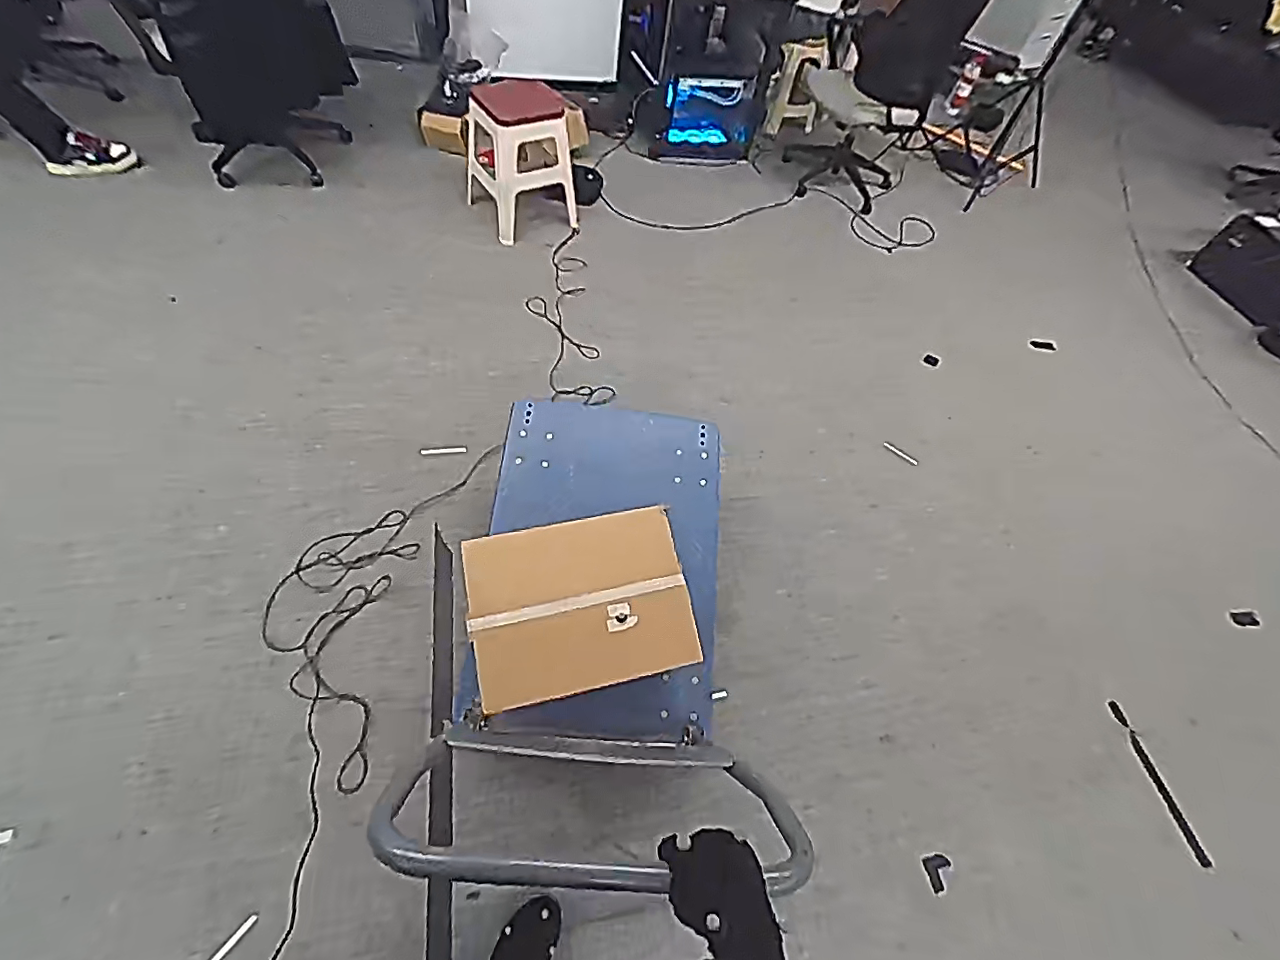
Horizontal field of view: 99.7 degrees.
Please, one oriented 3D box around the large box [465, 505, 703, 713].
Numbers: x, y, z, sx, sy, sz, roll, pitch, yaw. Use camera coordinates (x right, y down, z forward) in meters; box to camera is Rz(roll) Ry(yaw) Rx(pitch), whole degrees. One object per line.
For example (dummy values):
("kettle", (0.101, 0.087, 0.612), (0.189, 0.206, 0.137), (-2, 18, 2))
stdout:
("large box", (-0.128, 0.281, 1.158), (0.408, 0.320, 0.320), (-10, 72, -12))
